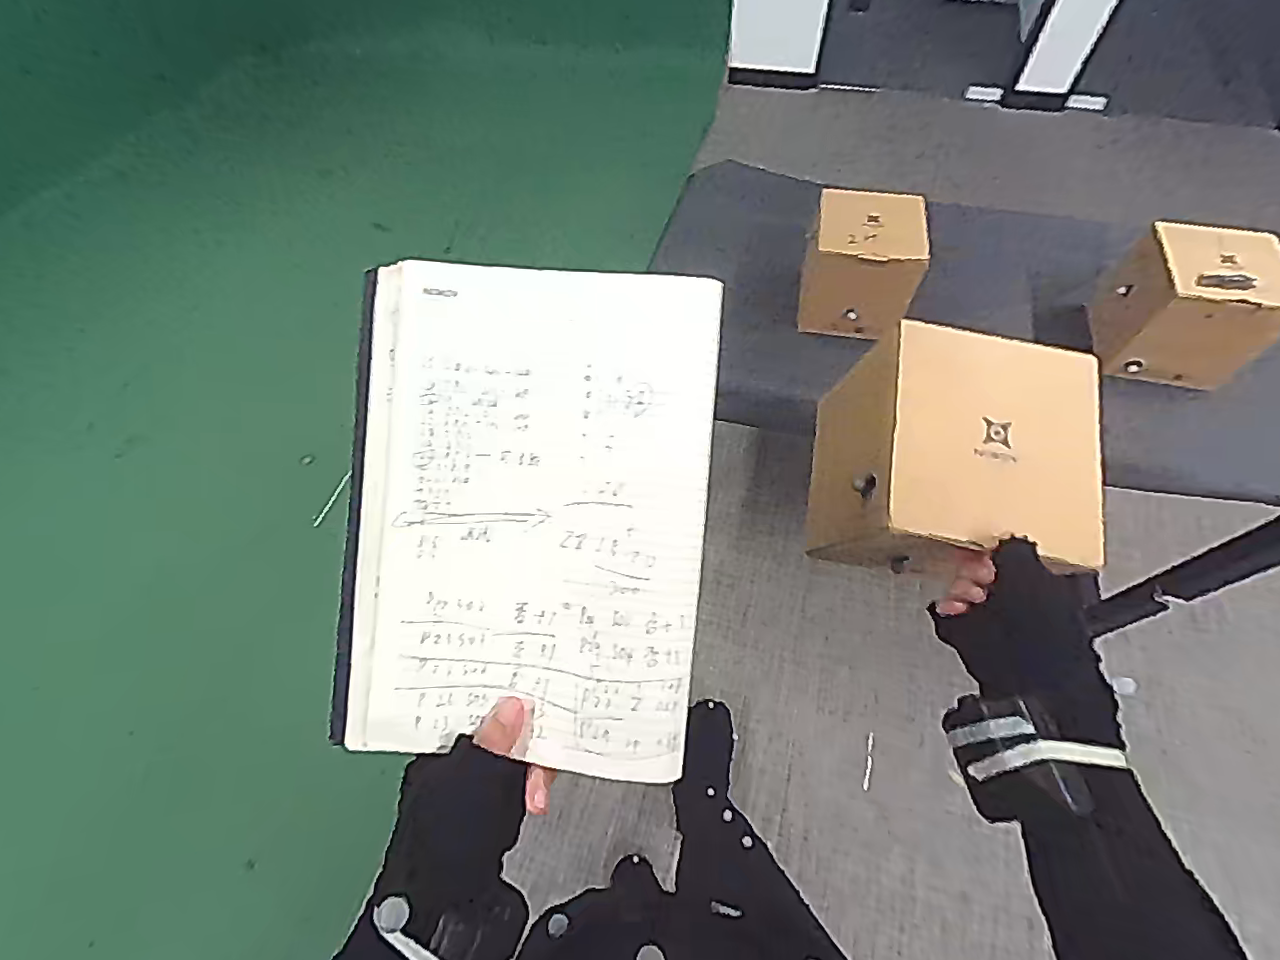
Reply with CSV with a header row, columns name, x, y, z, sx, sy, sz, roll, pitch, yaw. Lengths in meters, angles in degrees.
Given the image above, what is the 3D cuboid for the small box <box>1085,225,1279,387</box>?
name,x,y,z,sx,sy,sz,roll,pitch,yaw
small box,0.860,-0.273,0.861,0.168,0.176,0.179,12,59,10

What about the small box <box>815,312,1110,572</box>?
name,x,y,z,sx,sy,sz,roll,pitch,yaw
small box,0.273,-0.020,0.494,0.168,0.176,0.179,10,76,-2

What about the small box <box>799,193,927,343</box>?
name,x,y,z,sx,sy,sz,roll,pitch,yaw
small box,0.380,-0.369,0.945,0.168,0.176,0.179,9,59,9
